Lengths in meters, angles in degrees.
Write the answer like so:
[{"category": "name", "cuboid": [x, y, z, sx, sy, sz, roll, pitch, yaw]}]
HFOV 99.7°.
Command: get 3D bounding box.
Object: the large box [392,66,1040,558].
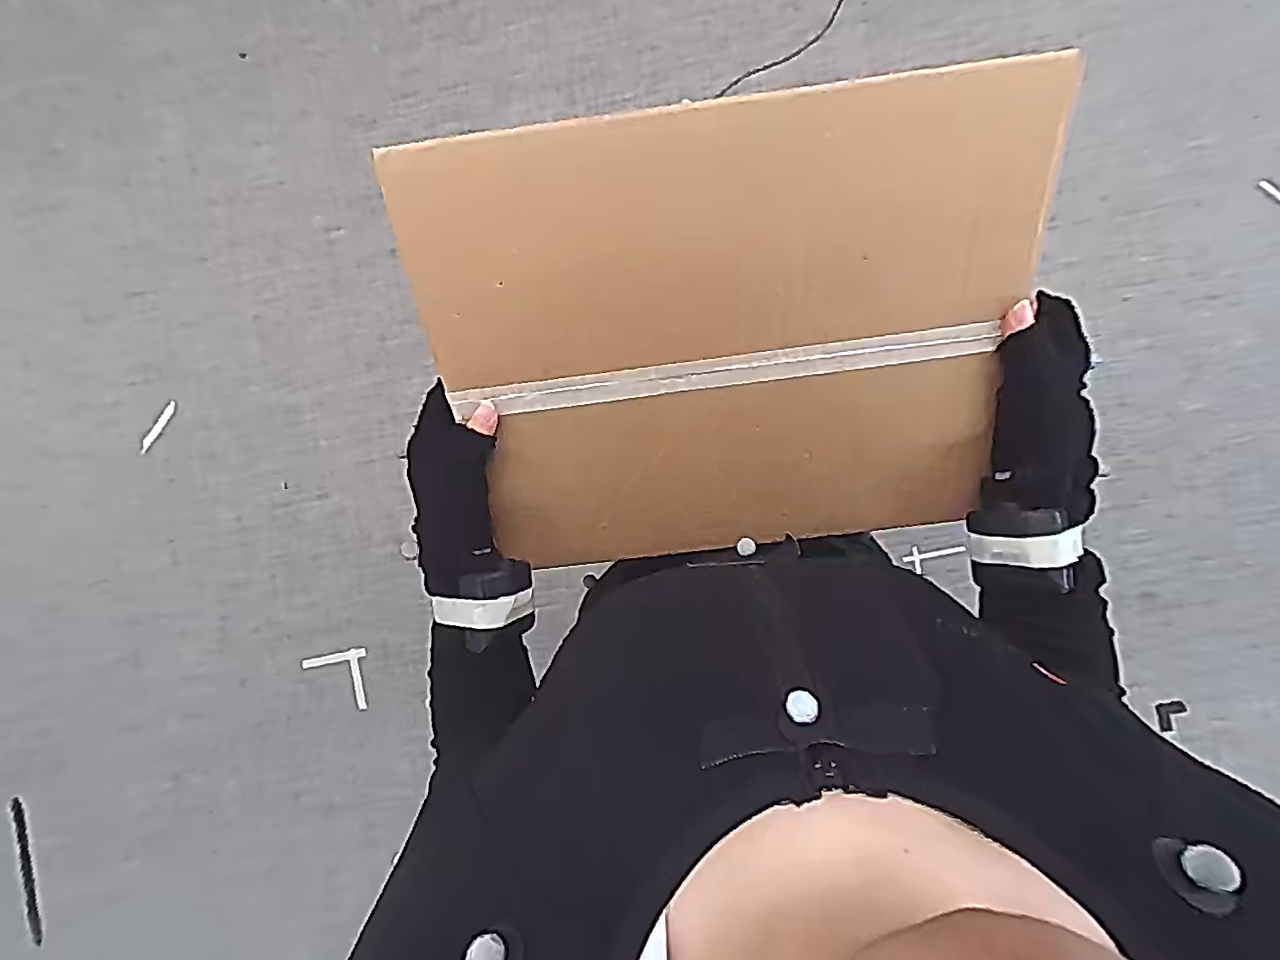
[{"category": "large box", "cuboid": [0.056, -0.161, 0.527, 0.408, 0.320, 0.320, -7, 120, 2]}]
